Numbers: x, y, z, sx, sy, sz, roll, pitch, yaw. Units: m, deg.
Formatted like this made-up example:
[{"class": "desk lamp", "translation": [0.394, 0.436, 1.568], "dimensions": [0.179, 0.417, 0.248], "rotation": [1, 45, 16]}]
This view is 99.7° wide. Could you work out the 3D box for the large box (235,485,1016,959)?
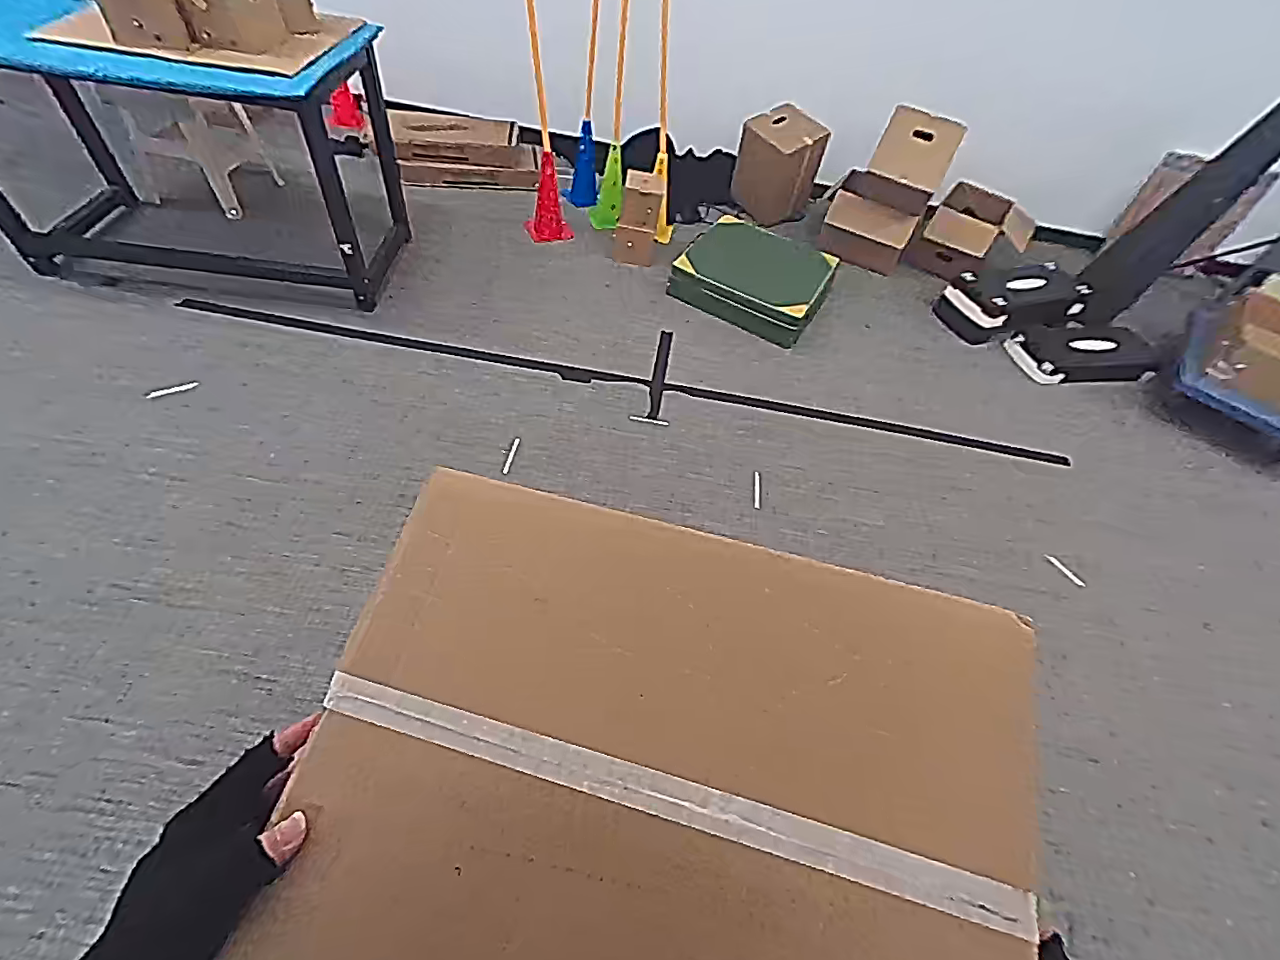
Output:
[{"class": "large box", "translation": [0.012, 0.238, 0.453], "dimensions": [0.408, 0.320, 0.320], "rotation": [13, 69, 9]}]
